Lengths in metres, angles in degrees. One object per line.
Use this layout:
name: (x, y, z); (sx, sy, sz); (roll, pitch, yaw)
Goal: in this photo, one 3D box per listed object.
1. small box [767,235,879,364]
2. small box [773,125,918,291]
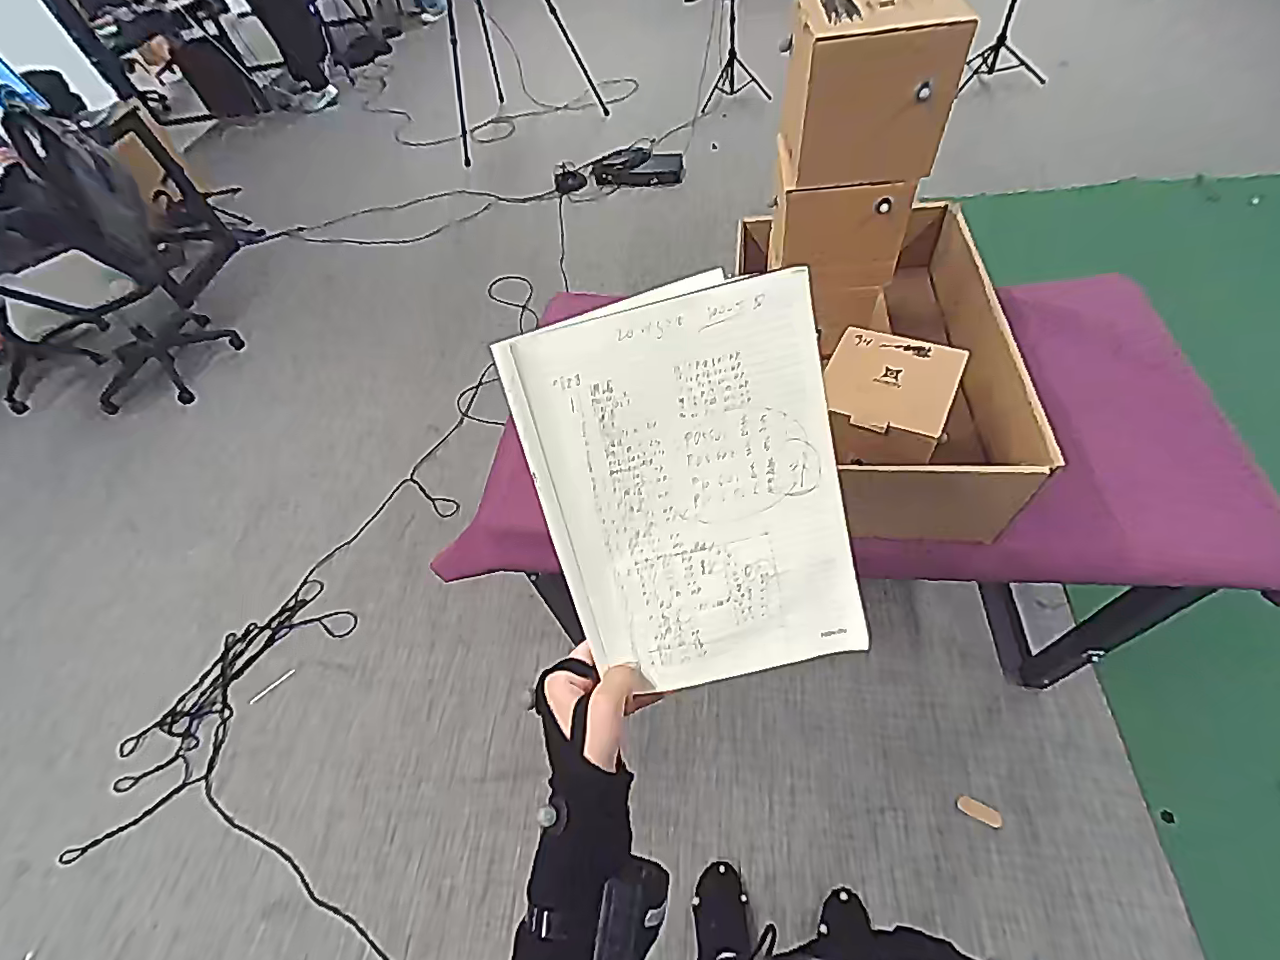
small box: (0.317, -0.322, 0.966); (0.168, 0.176, 0.179); (1, 57, 10)
small box: (0.299, -0.411, 0.832); (0.179, 0.176, 0.168); (-1, 56, 9)
